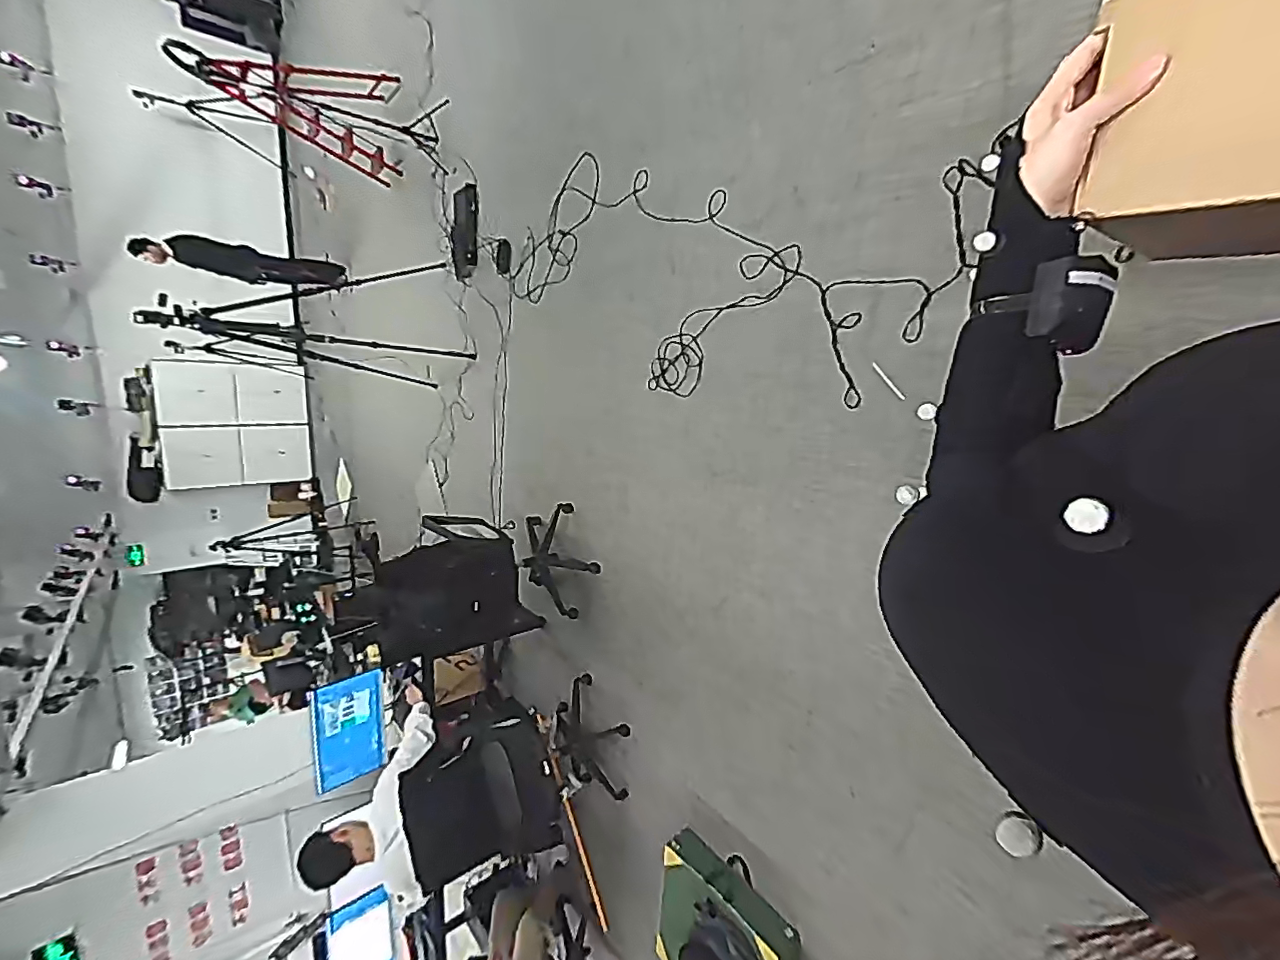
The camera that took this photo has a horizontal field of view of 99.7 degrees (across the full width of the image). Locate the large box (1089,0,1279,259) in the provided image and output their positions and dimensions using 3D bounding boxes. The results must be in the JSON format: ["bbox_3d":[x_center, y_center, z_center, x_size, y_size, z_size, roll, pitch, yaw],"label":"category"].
[{"bbox_3d":[0.586,-0.338,0.334,0.408,0.320,0.320,17,112,46],"label":"large box"}]
